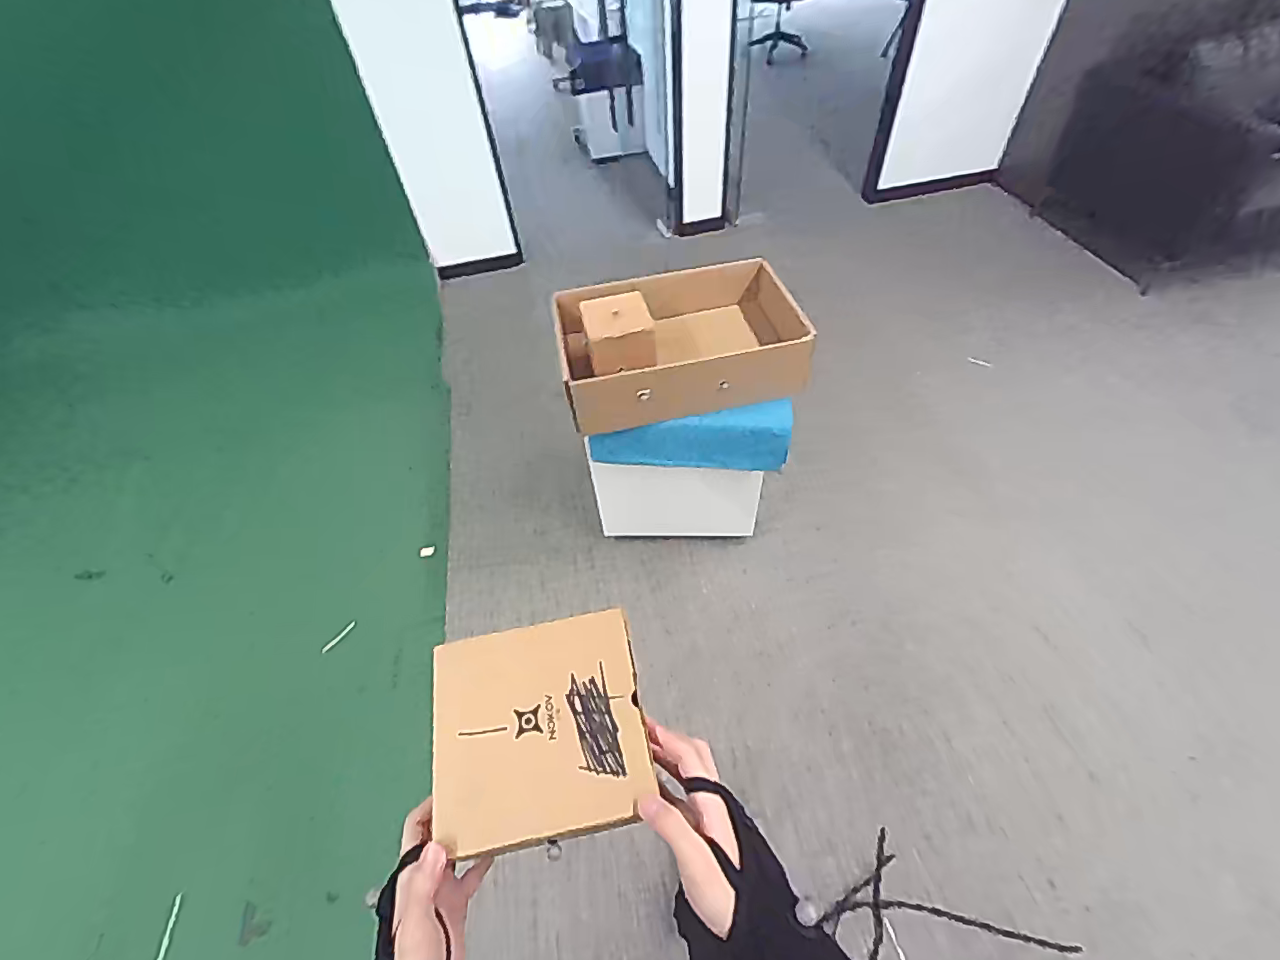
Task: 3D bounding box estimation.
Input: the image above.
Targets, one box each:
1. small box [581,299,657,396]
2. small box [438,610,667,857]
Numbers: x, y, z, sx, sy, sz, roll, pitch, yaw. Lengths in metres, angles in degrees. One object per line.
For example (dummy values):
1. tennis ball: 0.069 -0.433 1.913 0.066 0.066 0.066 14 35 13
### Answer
1. small box: -0.054 -0.347 1.418 0.168 0.176 0.179 -12 50 -6
2. small box: -0.077 0.243 0.517 0.179 0.176 0.168 -10 56 -4
